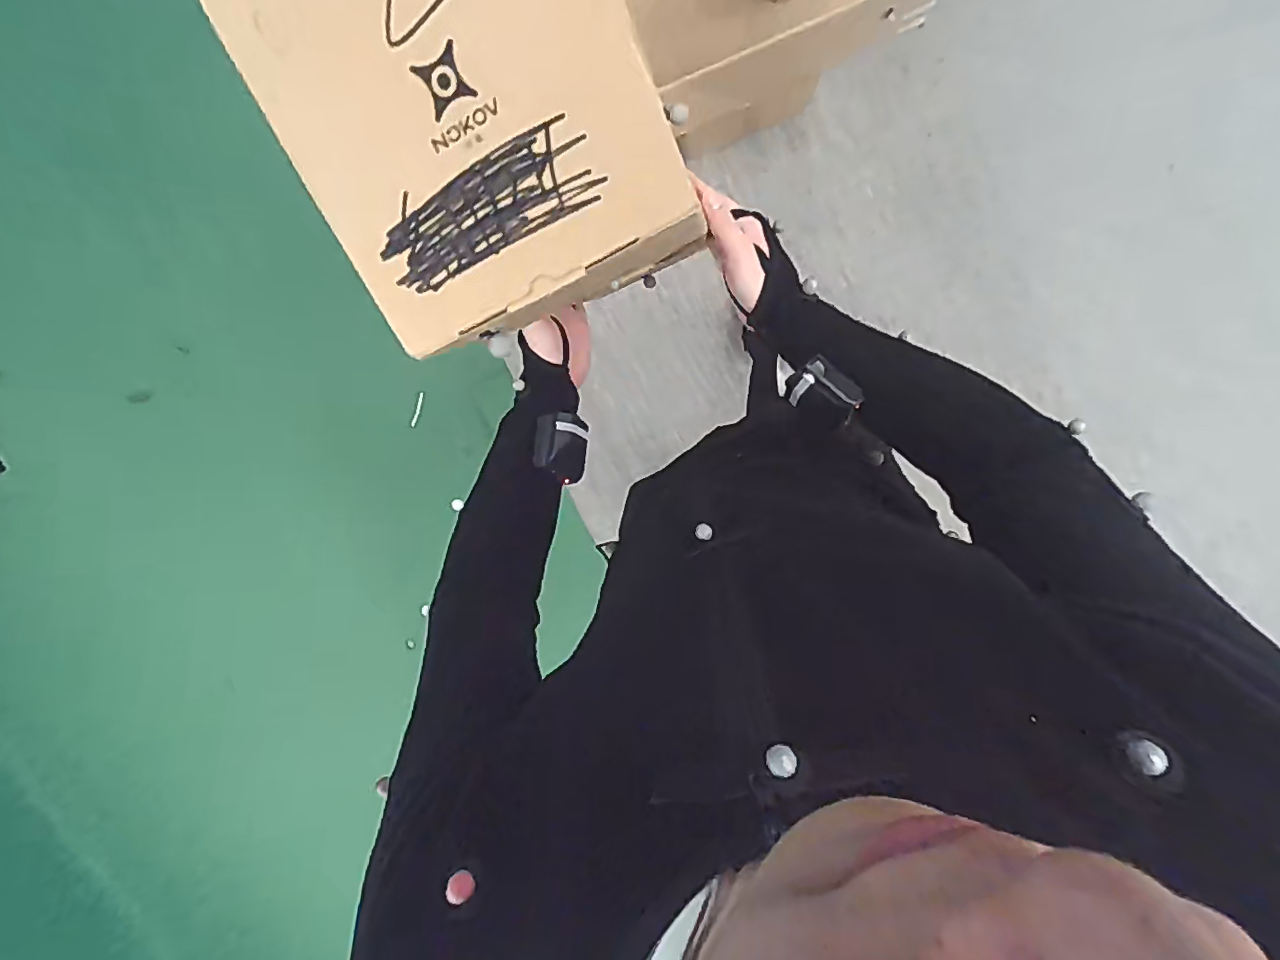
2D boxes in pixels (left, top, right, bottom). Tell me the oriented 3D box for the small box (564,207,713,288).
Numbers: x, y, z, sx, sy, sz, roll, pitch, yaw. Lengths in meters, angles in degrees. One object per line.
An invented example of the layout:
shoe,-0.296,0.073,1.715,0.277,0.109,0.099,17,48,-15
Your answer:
small box,-0.026,-0.329,0.597,0.168,0.176,0.179,-20,108,15

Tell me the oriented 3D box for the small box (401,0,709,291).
small box,-0.050,-0.274,0.447,0.168,0.176,0.179,-19,109,14
